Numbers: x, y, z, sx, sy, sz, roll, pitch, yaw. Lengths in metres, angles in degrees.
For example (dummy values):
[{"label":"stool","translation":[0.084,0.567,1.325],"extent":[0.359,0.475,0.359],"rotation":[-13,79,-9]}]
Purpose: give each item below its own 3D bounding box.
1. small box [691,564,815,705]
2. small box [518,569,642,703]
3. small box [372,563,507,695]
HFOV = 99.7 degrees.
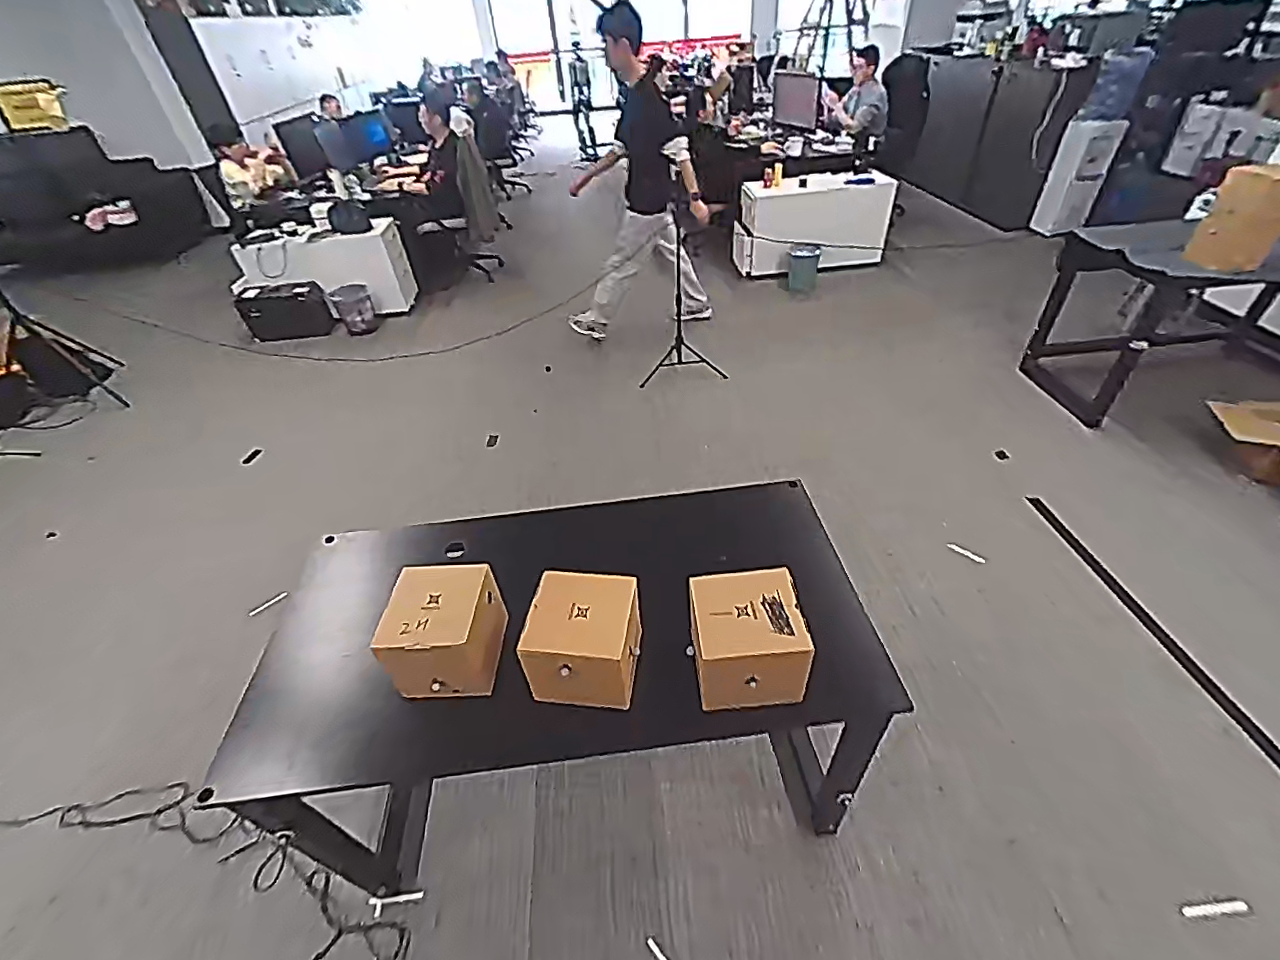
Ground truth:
[{"label":"small box","translation":[0.185,0.269,0.941],"extent":[0.179,0.176,0.168],"rotation":[-7,40,1]},{"label":"small box","translation":[-0.094,0.280,0.966],"extent":[0.179,0.176,0.168],"rotation":[1,41,9]},{"label":"small box","translation":[-0.355,0.275,1.000],"extent":[0.168,0.176,0.179],"rotation":[-4,42,3]}]
